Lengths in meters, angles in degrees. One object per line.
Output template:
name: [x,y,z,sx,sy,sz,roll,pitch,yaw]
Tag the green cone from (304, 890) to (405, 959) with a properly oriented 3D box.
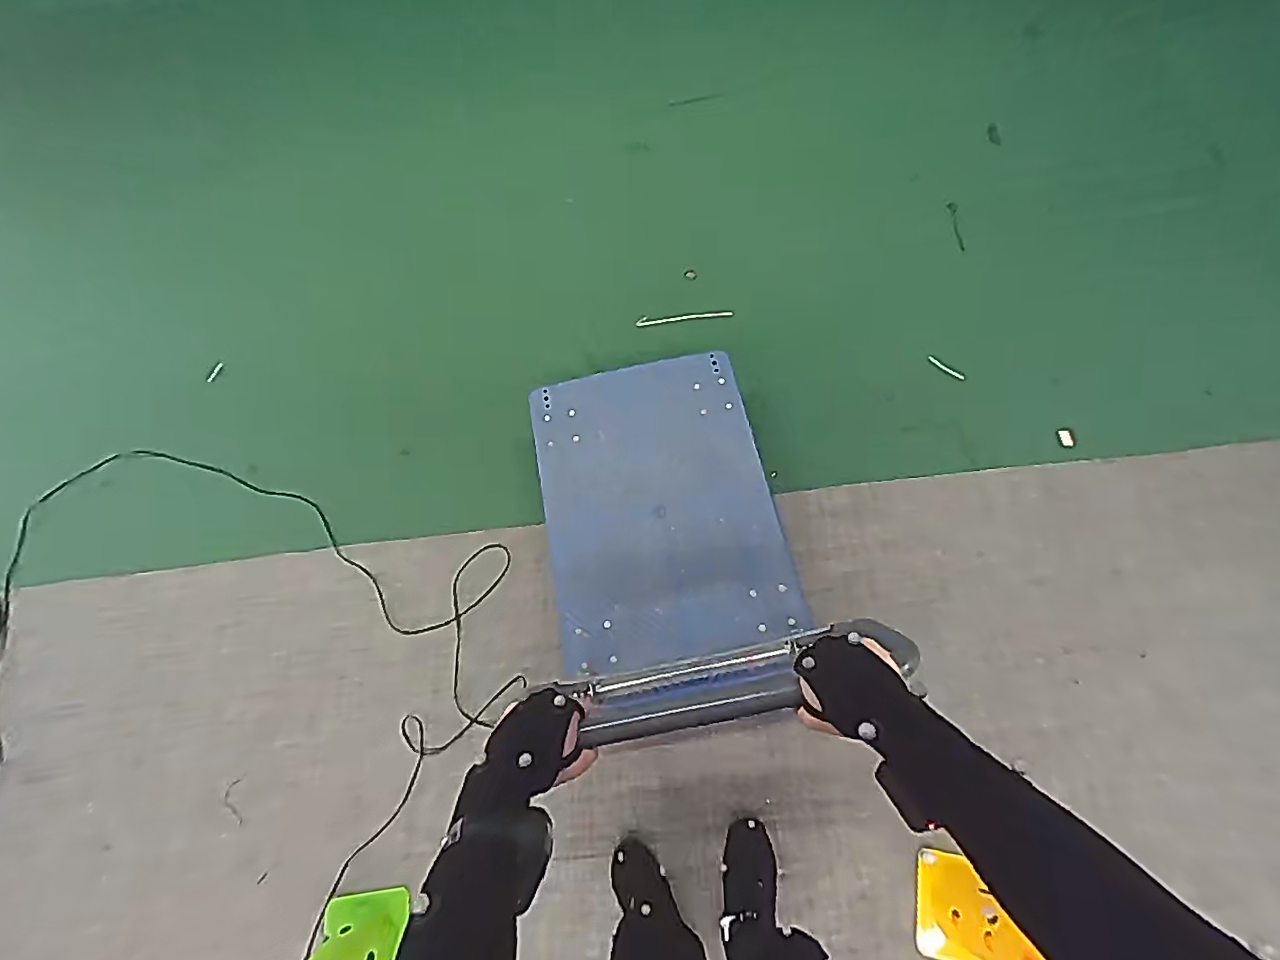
green cone: [-0.643,0.991,1.058,0.202,0.368,0.200,-11,68,2]
